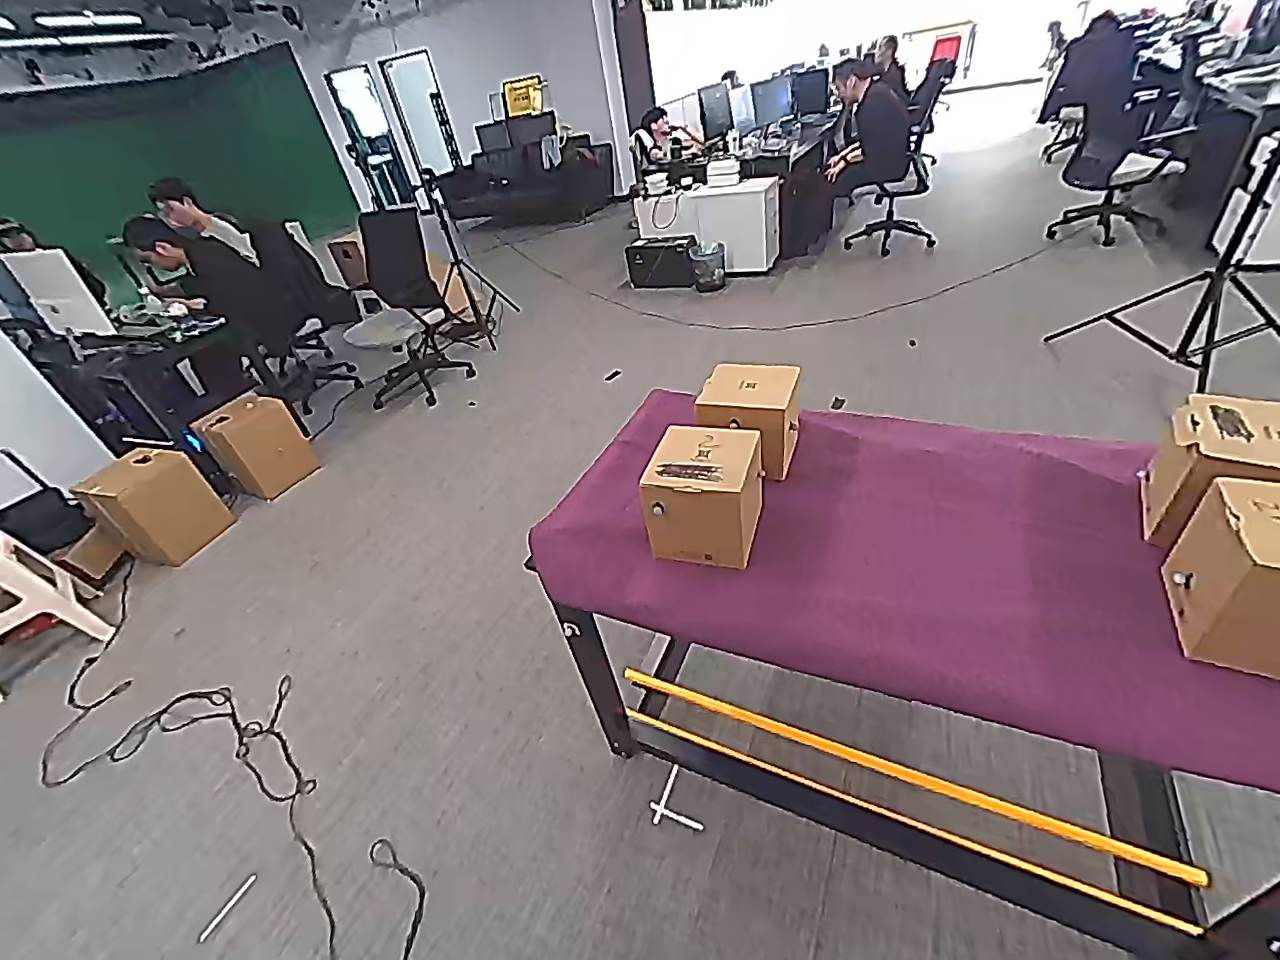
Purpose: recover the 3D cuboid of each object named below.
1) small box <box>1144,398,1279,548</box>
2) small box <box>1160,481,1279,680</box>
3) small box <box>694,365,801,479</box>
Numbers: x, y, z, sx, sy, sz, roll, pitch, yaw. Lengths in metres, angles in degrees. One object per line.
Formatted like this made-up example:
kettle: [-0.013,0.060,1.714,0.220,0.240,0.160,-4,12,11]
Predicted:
small box: [0.862,0.006,0.775,0.179,0.176,0.168,16,46,29]
small box: [0.775,0.127,0.641,0.179,0.176,0.168,11,40,28]
small box: [0.225,-0.119,1.105,0.179,0.176,0.168,7,41,23]
